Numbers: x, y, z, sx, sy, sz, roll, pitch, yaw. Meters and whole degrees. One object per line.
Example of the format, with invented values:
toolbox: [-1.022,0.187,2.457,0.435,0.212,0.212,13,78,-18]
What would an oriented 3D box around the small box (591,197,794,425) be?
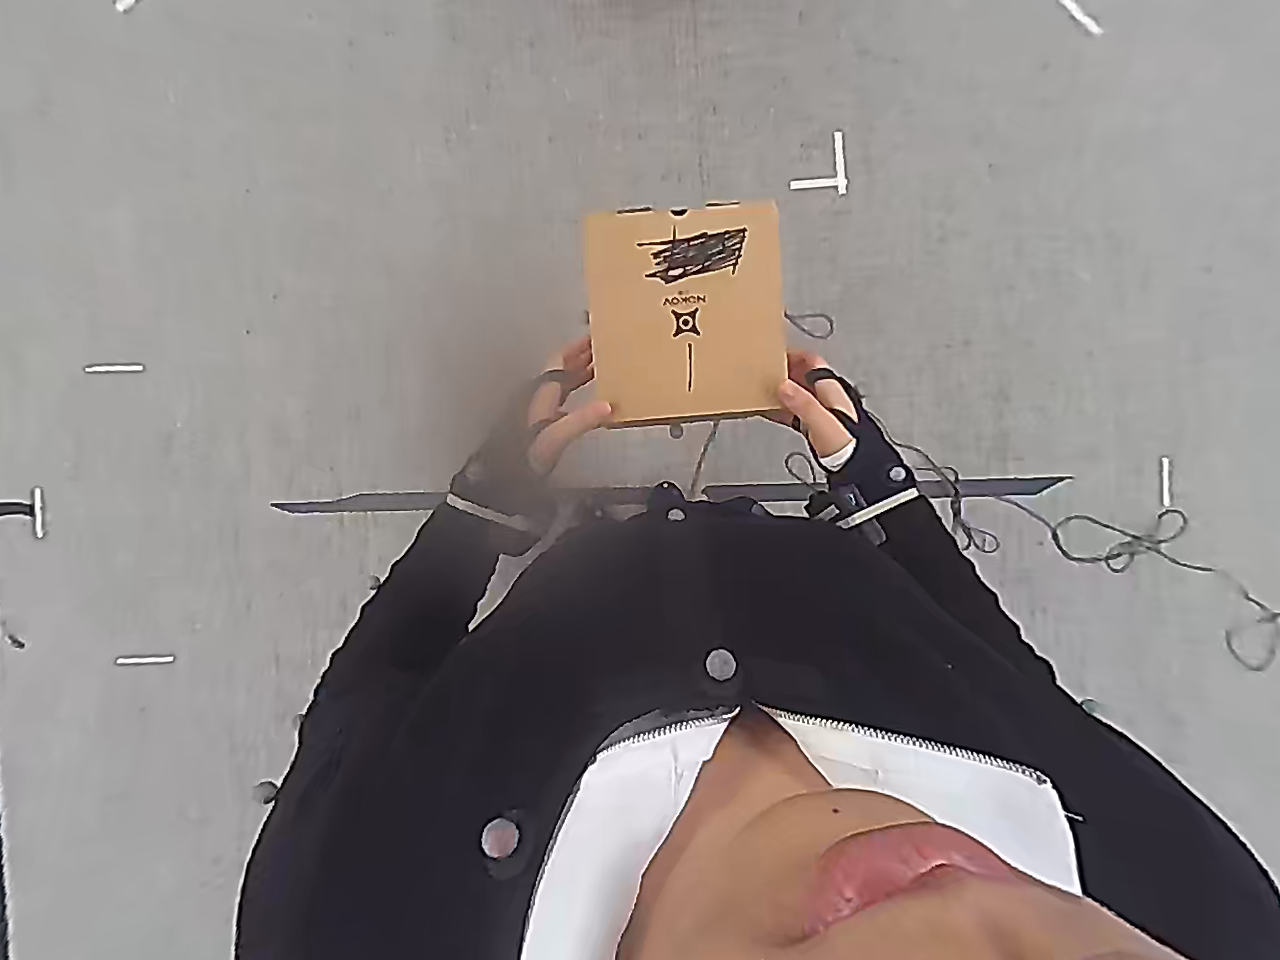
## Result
small box: [0.043,-0.149,0.533,0.168,0.176,0.179,-5,94,0]
